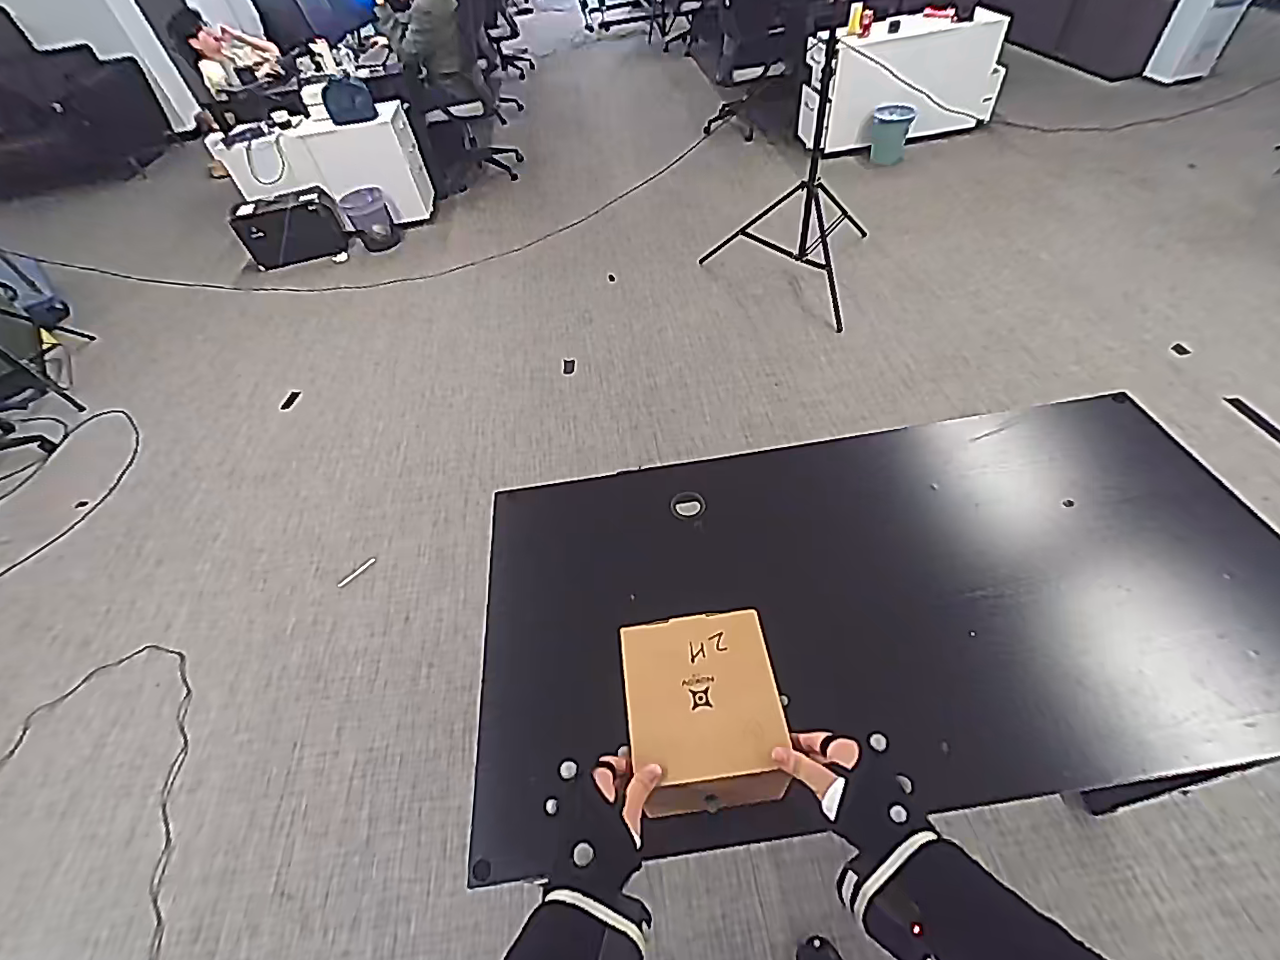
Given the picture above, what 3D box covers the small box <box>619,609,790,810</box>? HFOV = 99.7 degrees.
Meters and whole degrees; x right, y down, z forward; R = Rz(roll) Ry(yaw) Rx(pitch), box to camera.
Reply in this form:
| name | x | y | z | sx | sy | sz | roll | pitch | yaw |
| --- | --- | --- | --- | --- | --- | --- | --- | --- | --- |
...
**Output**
| name | x | y | z | sx | sy | sz | roll | pitch | yaw |
| --- | --- | --- | --- | --- | --- | --- | --- | --- | --- |
| small box | 0.073 | 0.283 | 0.653 | 0.168 | 0.176 | 0.179 | -9 | 49 | 0 |
